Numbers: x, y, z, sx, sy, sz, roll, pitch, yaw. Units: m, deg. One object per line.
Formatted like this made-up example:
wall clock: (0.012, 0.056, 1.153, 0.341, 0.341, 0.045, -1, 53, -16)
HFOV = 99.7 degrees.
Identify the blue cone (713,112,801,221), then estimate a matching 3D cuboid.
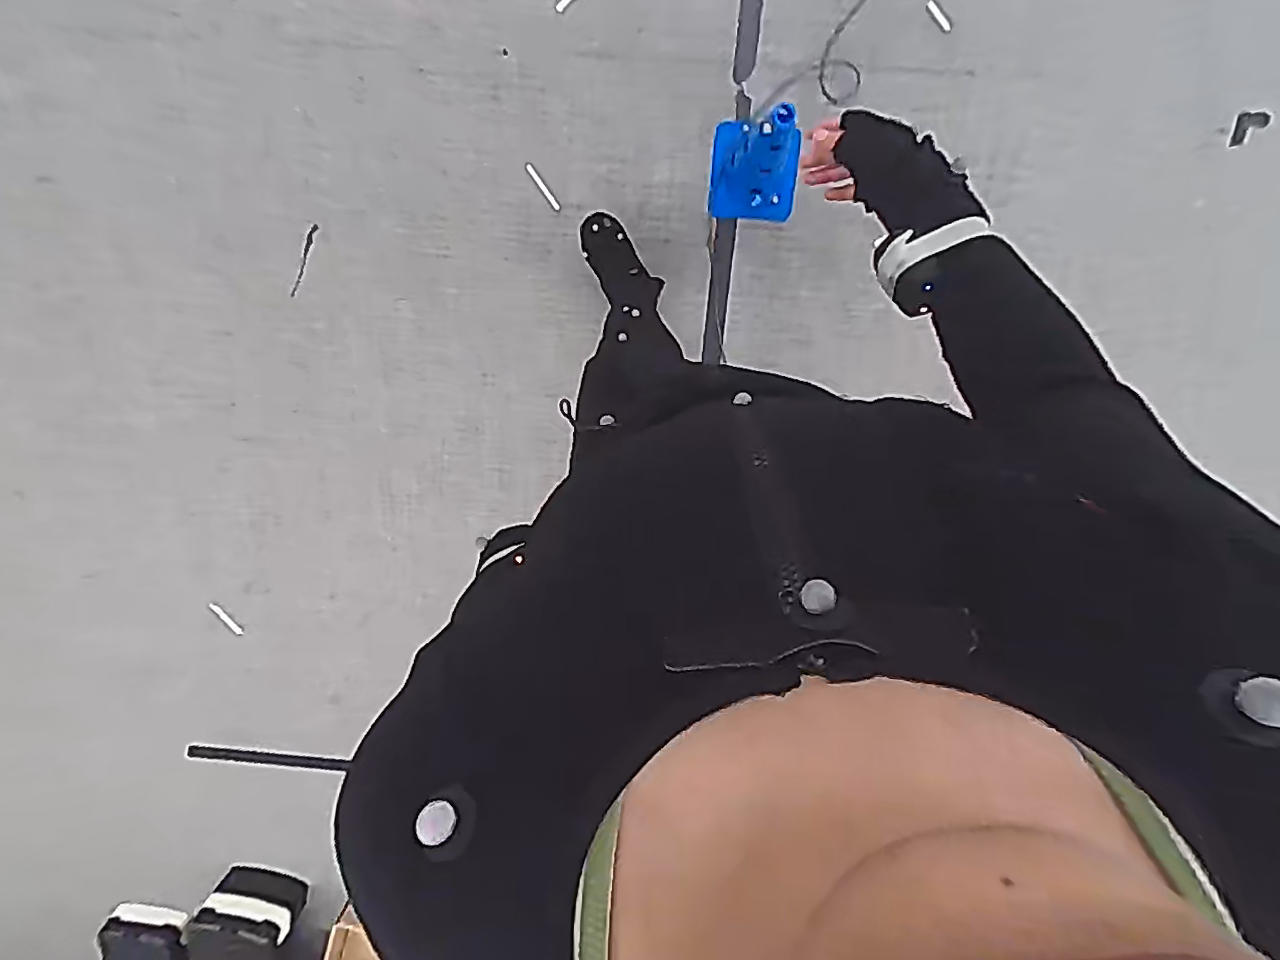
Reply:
blue cone: (0.261, -0.660, 1.087, 0.193, 0.380, 0.192, 3, 105, 1)
